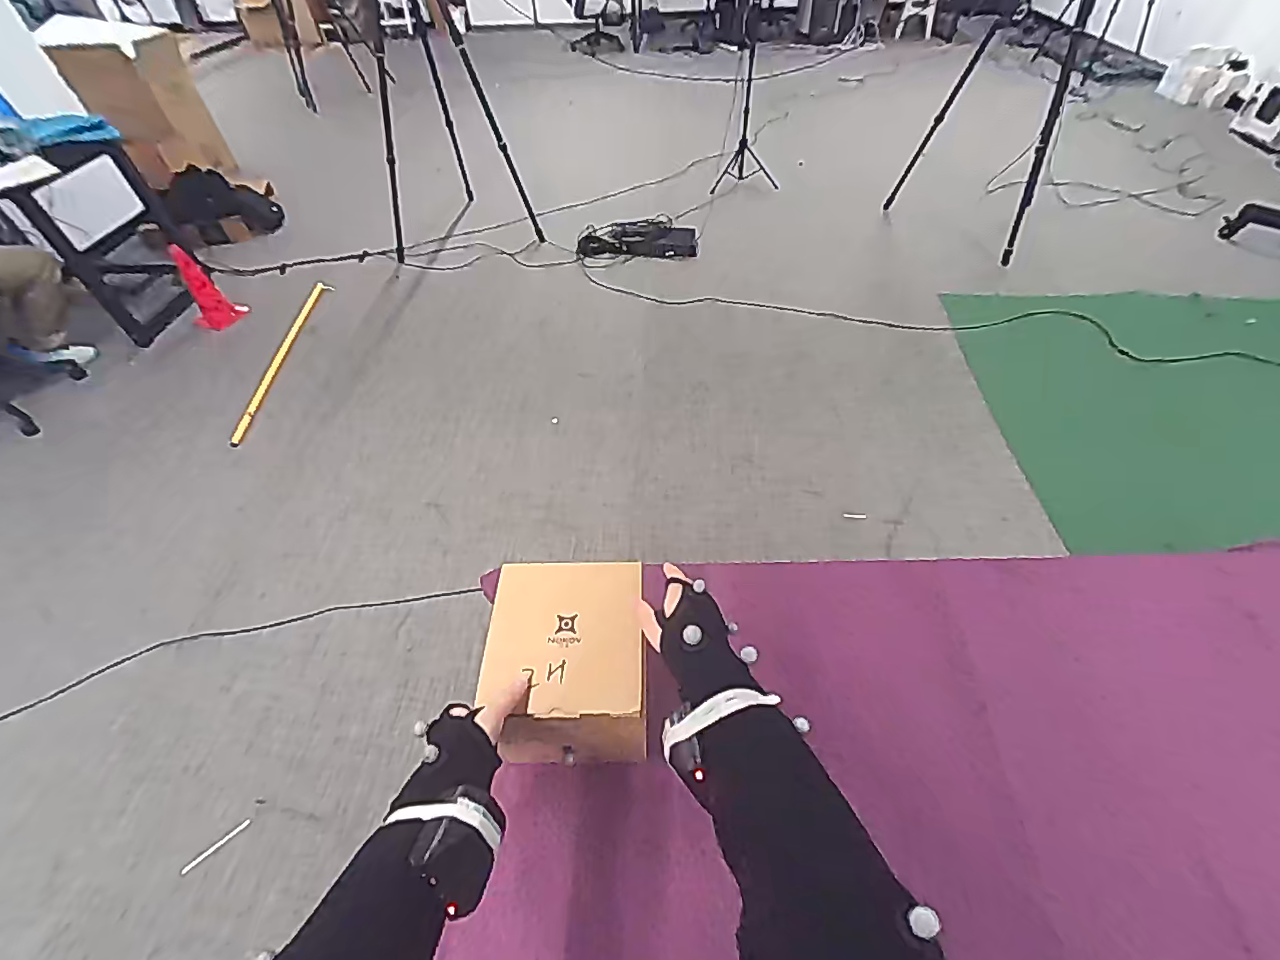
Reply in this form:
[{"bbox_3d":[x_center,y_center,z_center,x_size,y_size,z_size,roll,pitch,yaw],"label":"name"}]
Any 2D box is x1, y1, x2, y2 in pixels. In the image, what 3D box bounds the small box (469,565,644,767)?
[{"bbox_3d":[-0.081,0.218,0.636,0.168,0.176,0.179,-1,48,2],"label":"small box"}]
